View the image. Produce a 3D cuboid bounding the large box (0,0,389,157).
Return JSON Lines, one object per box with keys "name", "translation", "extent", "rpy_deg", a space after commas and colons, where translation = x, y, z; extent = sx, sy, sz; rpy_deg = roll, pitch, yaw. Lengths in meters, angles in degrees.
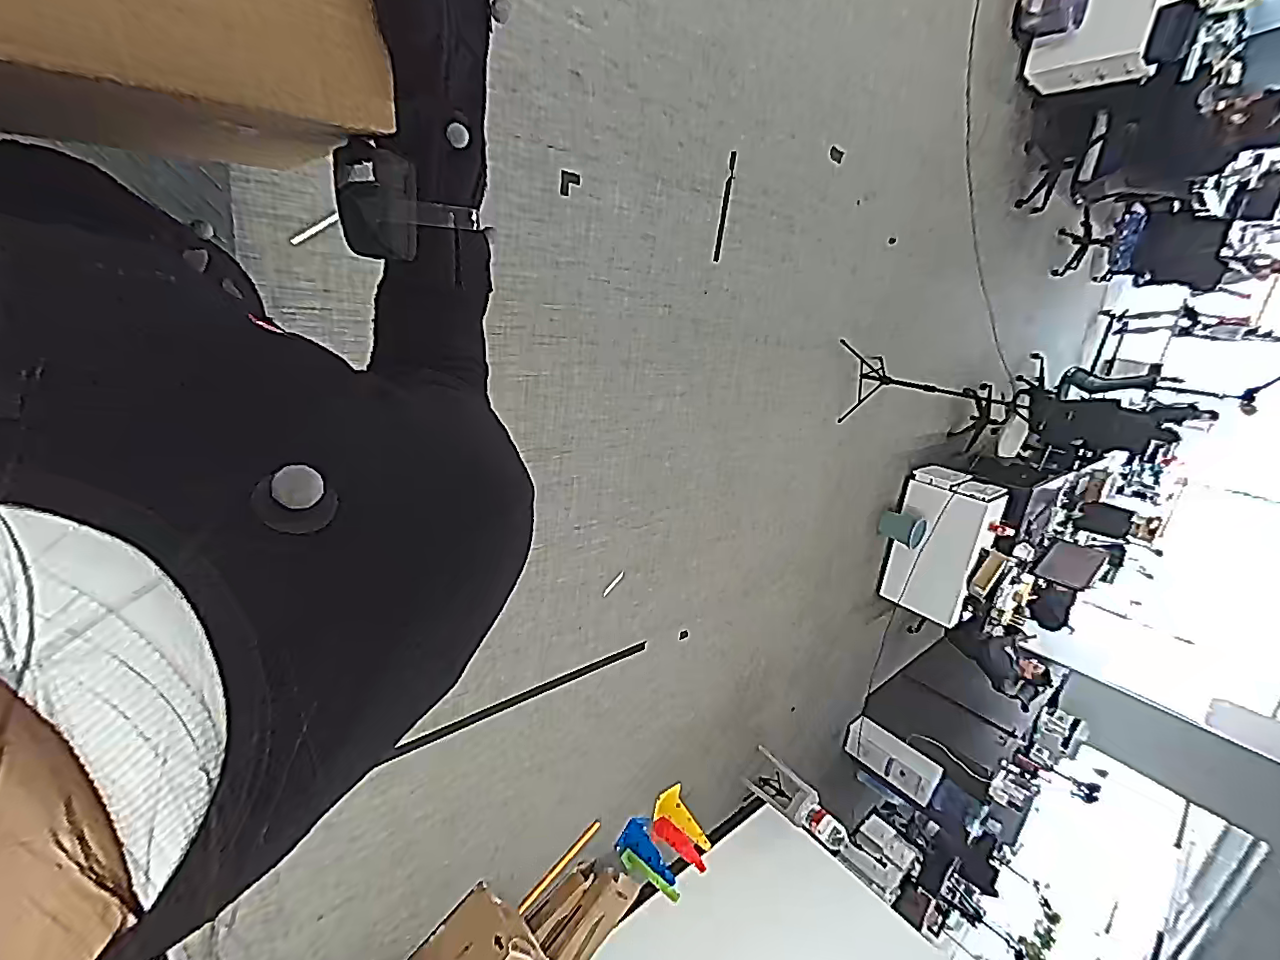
{"name": "large box", "translation": [-0.391, -0.361, 0.247], "extent": [0.408, 0.320, 0.320], "rpy_deg": [-16, 121, -38]}
